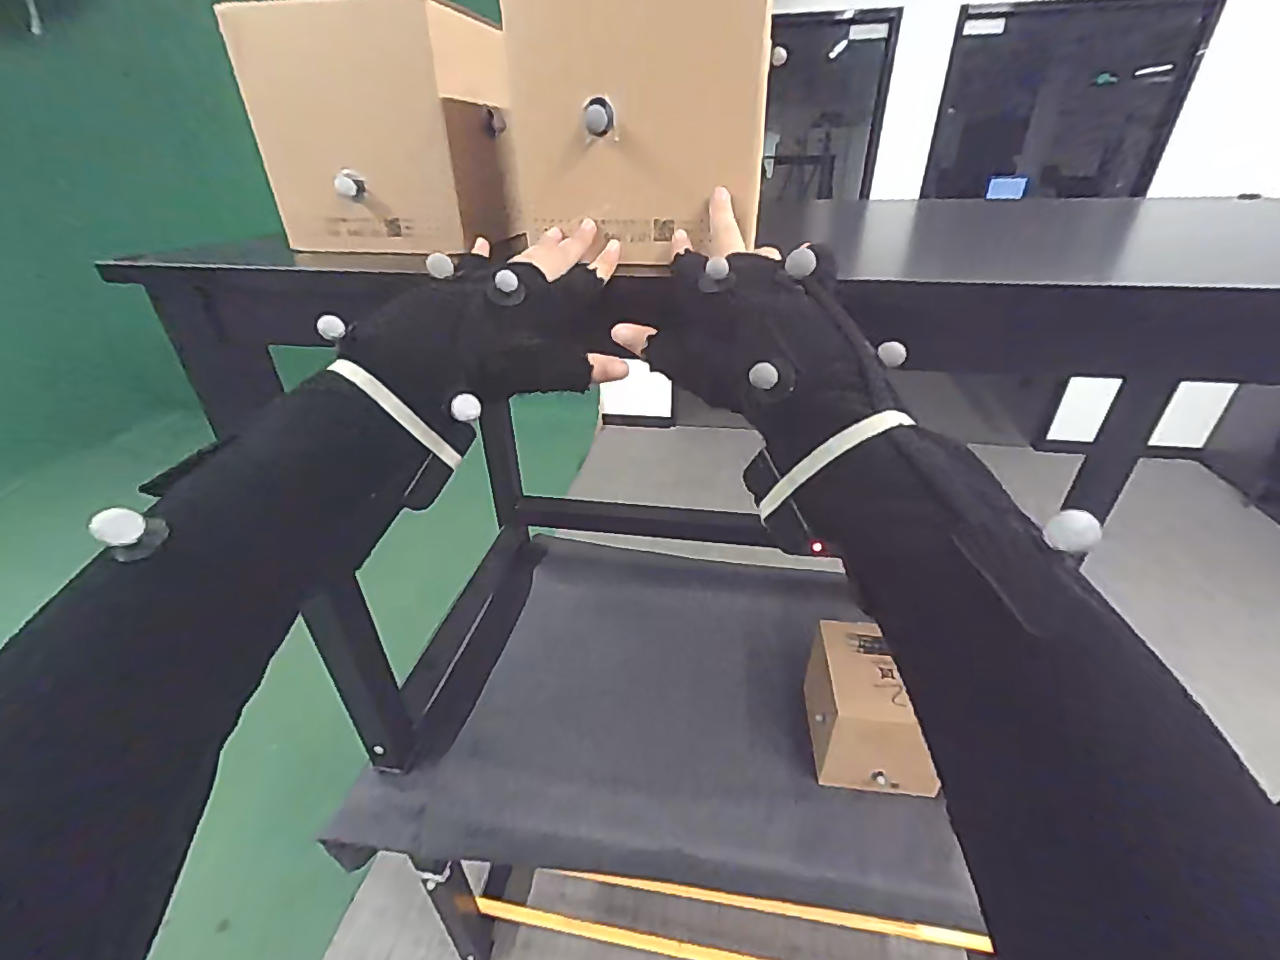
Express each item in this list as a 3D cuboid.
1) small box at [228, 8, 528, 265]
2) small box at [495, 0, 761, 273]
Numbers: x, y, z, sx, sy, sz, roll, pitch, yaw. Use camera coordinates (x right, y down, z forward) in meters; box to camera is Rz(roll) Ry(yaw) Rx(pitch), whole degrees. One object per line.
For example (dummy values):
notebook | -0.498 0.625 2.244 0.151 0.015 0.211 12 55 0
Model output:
small box | -0.211 -0.303 0.497 0.168 0.176 0.179 4 32 9
small box | 0.007 -0.266 0.431 0.168 0.176 0.179 4 31 10
